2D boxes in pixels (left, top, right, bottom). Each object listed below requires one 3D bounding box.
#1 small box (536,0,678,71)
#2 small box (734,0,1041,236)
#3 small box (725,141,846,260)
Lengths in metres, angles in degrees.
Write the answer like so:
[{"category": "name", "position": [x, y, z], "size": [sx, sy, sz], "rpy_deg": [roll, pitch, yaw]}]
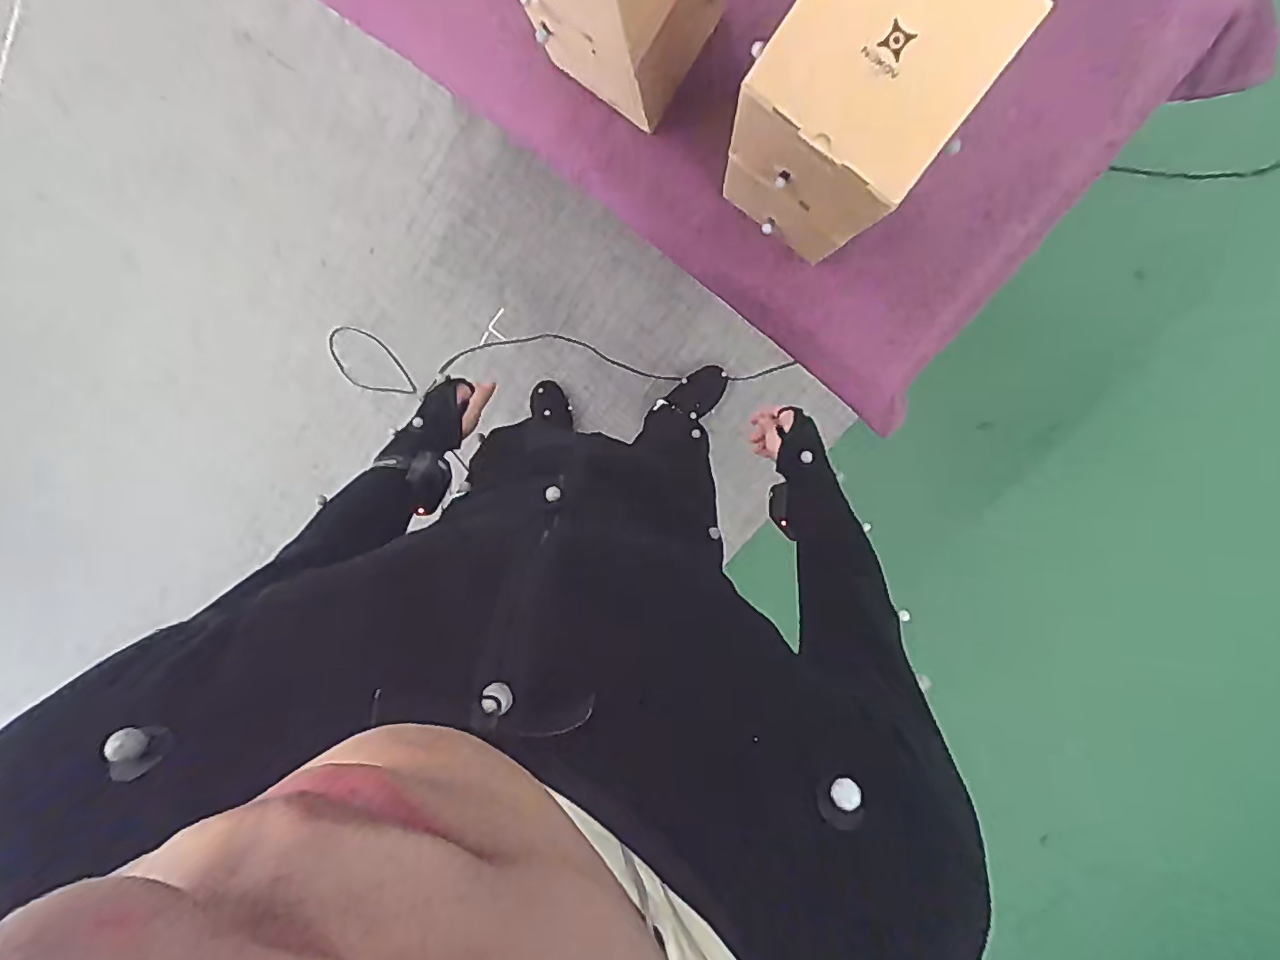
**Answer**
[{"category": "small box", "position": [-0.032, -0.528, 0.486], "size": [0.168, 0.176, 0.179], "rpy_deg": [35, 104, -5]}, {"category": "small box", "position": [0.203, -0.363, 0.508], "size": [0.168, 0.176, 0.179], "rpy_deg": [35, 105, -5]}, {"category": "small box", "position": [0.218, -0.402, 0.665], "size": [0.168, 0.176, 0.179], "rpy_deg": [36, 105, -4]}]
